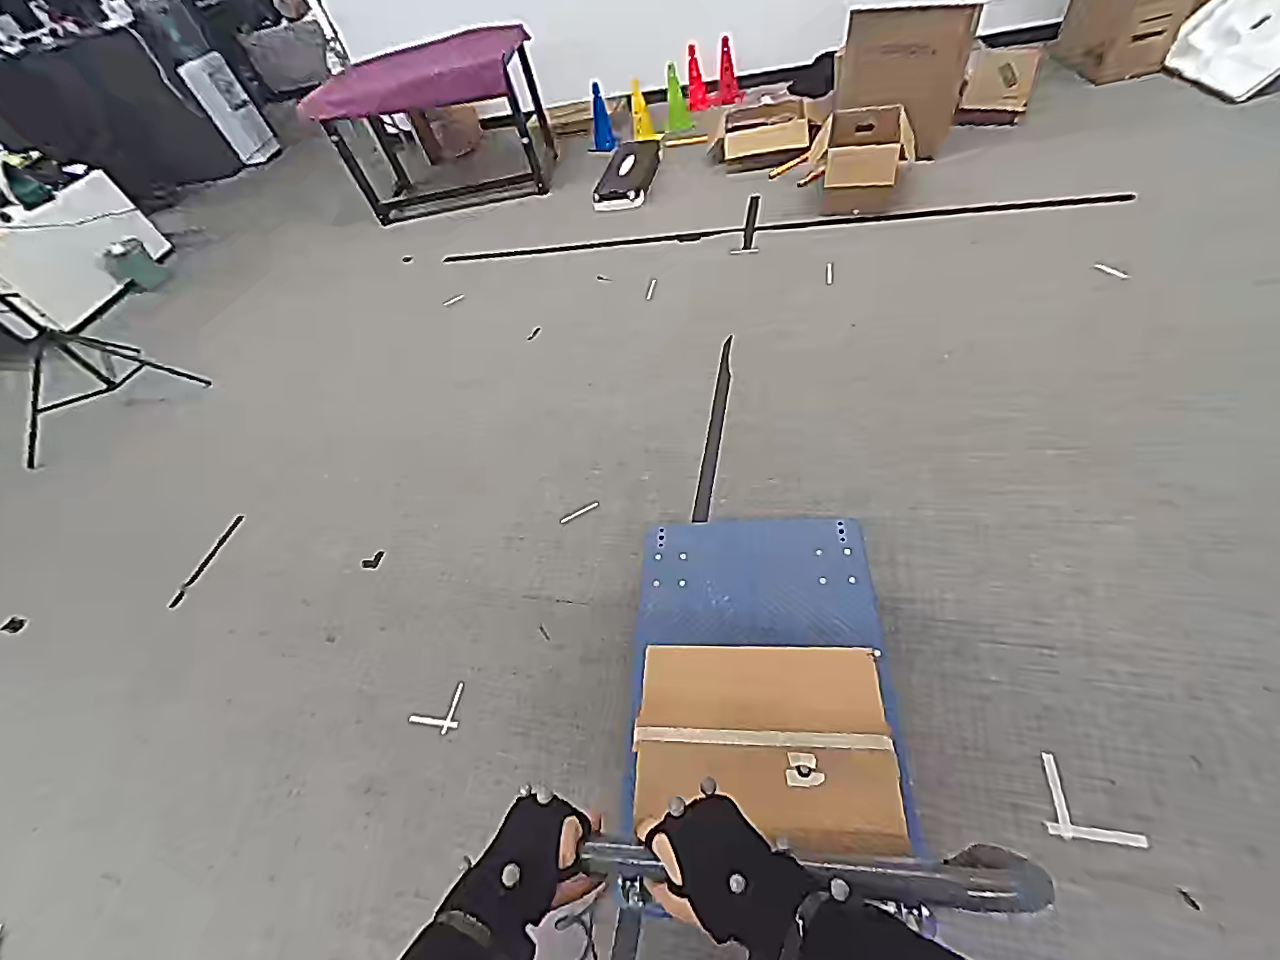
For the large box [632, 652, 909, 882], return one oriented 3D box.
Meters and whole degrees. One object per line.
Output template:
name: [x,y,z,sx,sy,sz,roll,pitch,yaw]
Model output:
large box: [0.215,0.523,0.988,0.408,0.320,0.320,-3,51,11]
